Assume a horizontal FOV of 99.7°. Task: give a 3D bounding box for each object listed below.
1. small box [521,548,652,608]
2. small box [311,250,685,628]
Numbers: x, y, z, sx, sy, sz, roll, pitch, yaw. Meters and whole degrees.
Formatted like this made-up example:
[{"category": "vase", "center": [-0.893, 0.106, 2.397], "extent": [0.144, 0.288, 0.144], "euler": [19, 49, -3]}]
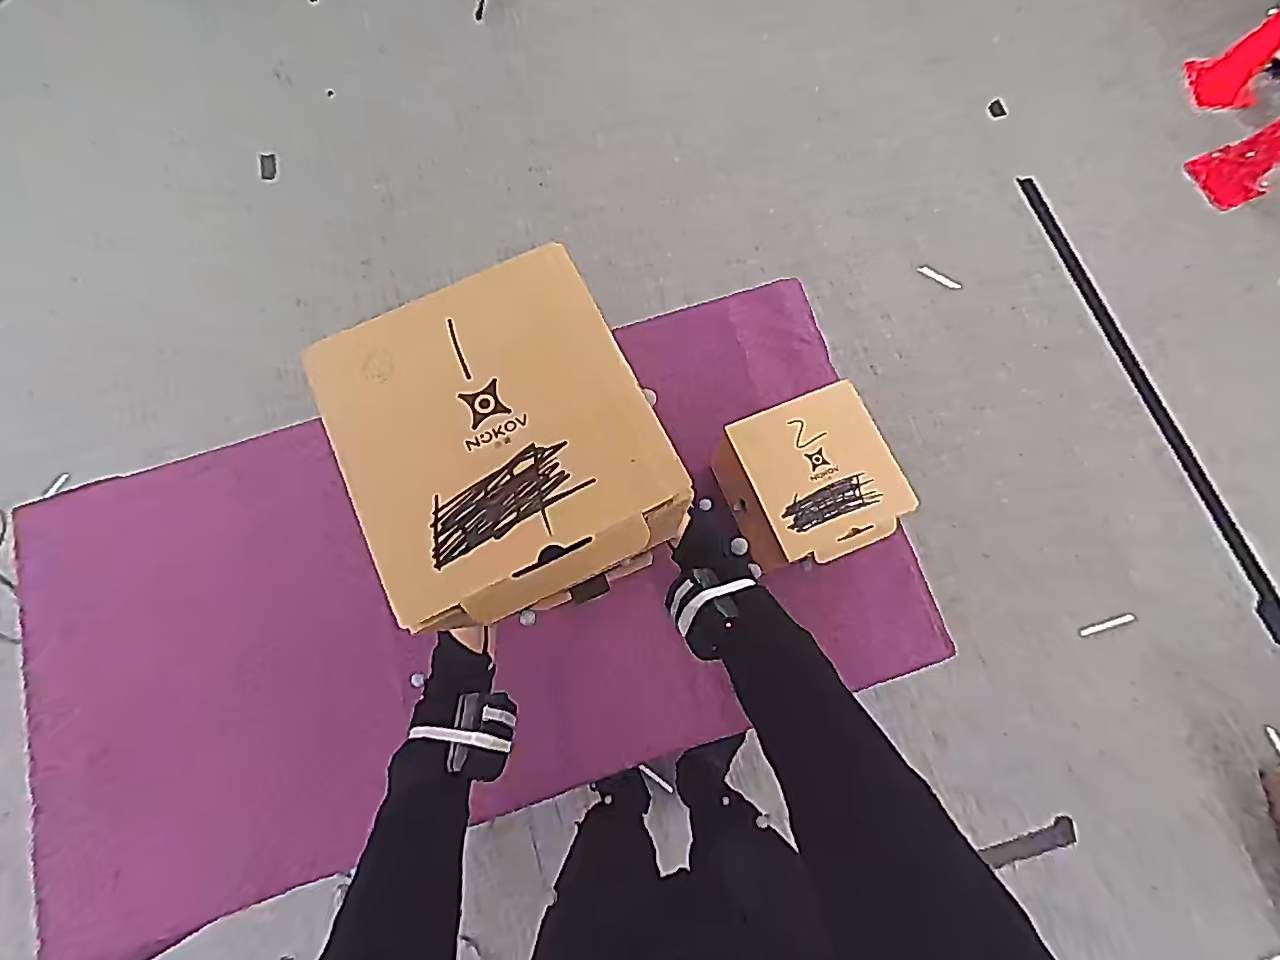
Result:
[{"category": "small box", "center": [-0.093, 0.056, 0.700], "extent": [0.168, 0.176, 0.179], "euler": [-22, 77, -4]}, {"category": "small box", "center": [-0.081, -0.013, 0.380], "extent": [0.168, 0.176, 0.179], "euler": [-25, 77, -6]}]
